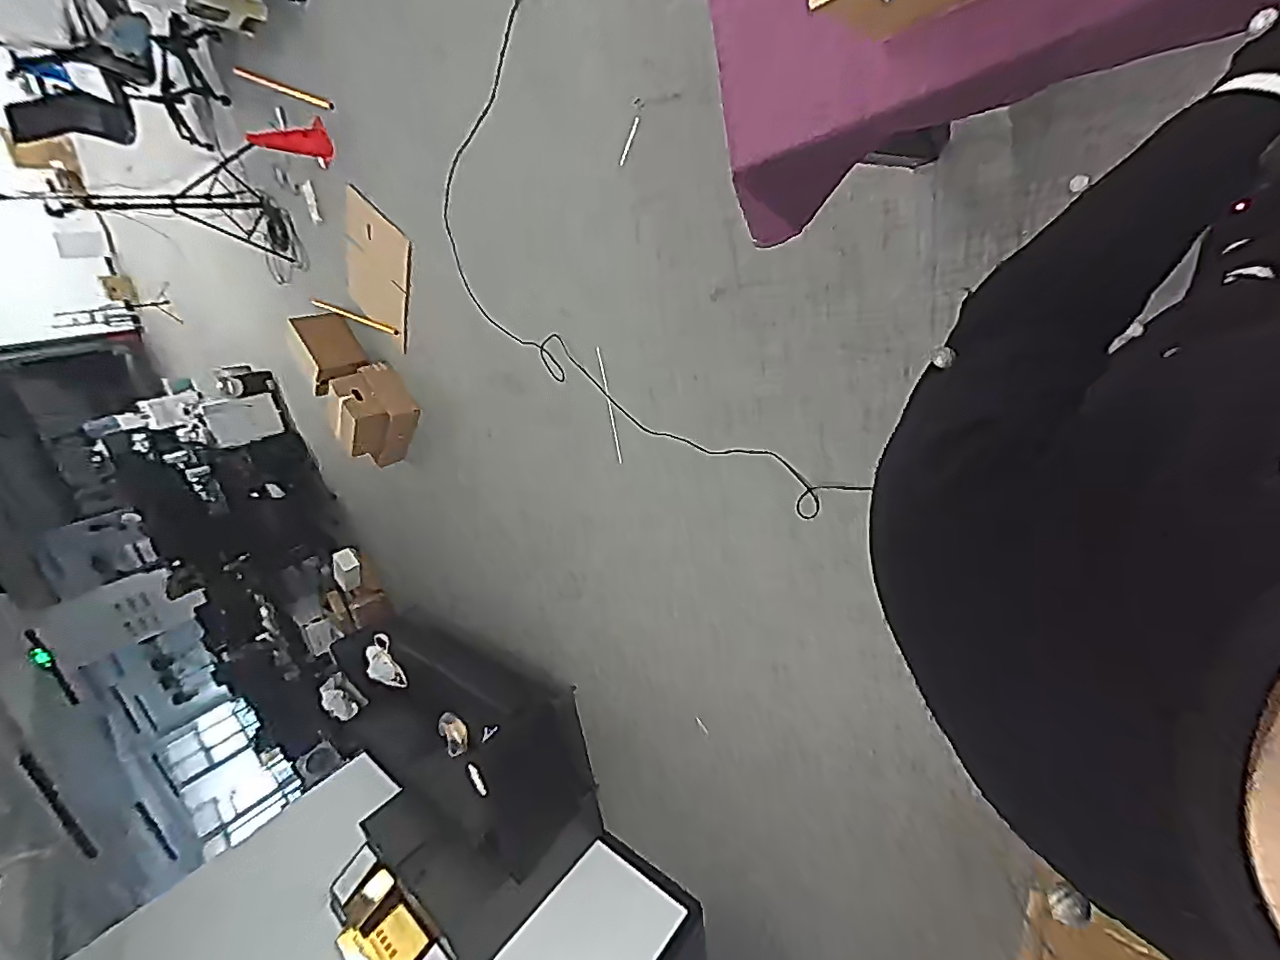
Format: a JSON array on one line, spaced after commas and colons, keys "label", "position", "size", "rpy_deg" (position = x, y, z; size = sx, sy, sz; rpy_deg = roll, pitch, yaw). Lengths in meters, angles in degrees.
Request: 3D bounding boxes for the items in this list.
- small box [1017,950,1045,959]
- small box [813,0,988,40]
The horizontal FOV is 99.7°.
[{"label": "small box", "position": [0.892, 1.195, 1.174], "size": [0.168, 0.176, 0.179], "rpy_deg": [18, 124, 37]}, {"label": "small box", "position": [0.262, -0.541, 0.481], "size": [0.168, 0.176, 0.179], "rpy_deg": [9, 116, 42]}]
